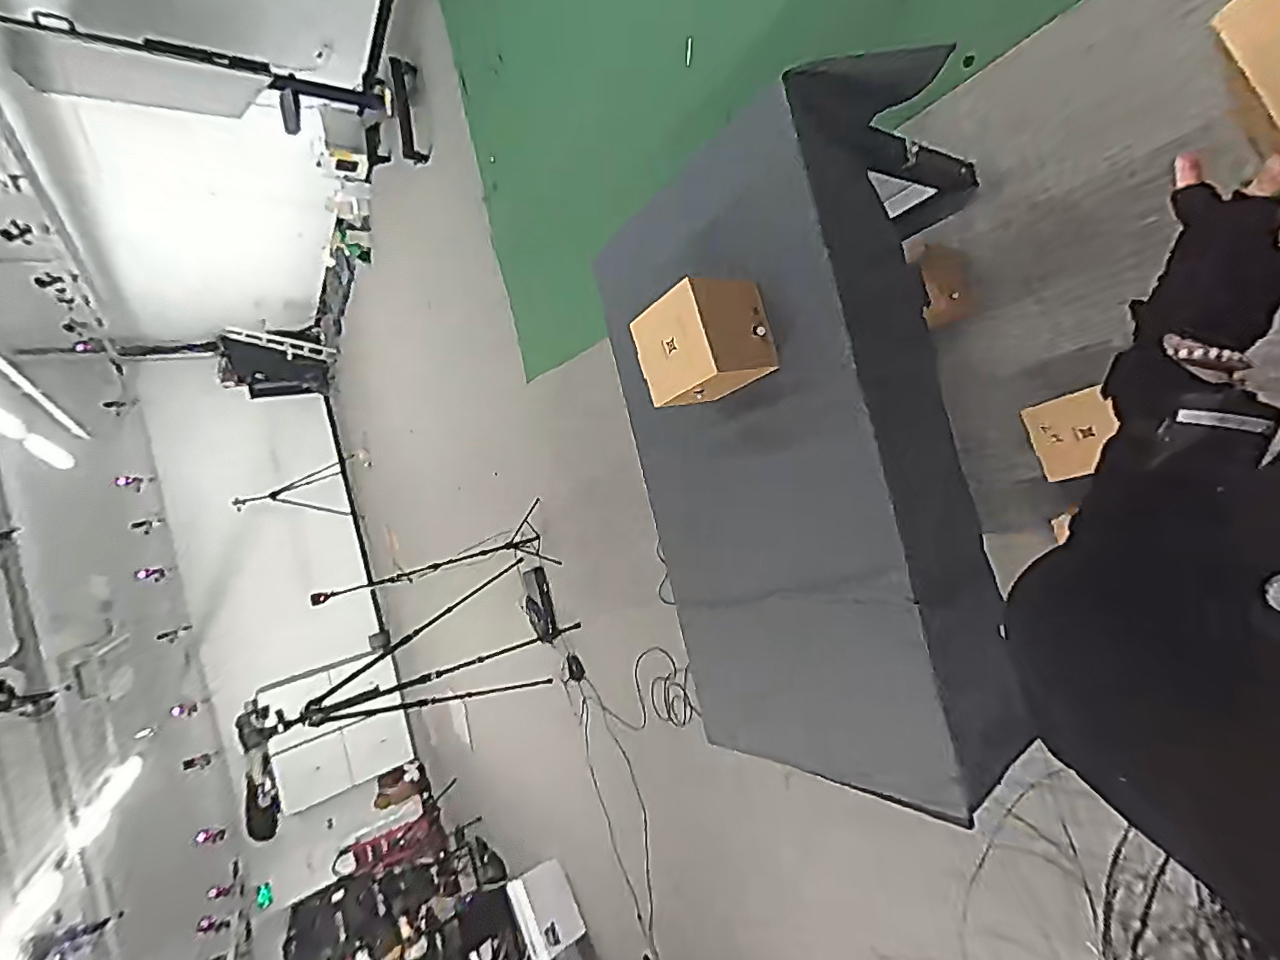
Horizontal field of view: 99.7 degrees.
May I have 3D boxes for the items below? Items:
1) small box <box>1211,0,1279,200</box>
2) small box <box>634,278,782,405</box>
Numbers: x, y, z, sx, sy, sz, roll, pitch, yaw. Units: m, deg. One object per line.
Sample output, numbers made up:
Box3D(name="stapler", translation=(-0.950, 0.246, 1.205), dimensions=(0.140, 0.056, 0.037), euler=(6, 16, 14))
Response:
Box3D(name="small box", translation=(0.479, -0.246, 0.303), dimensions=(0.179, 0.176, 0.168), euler=(-31, 76, 49))
Box3D(name="small box", translation=(0.121, -0.245, 0.973), dimensions=(0.179, 0.176, 0.168), euler=(-20, 86, 54))
